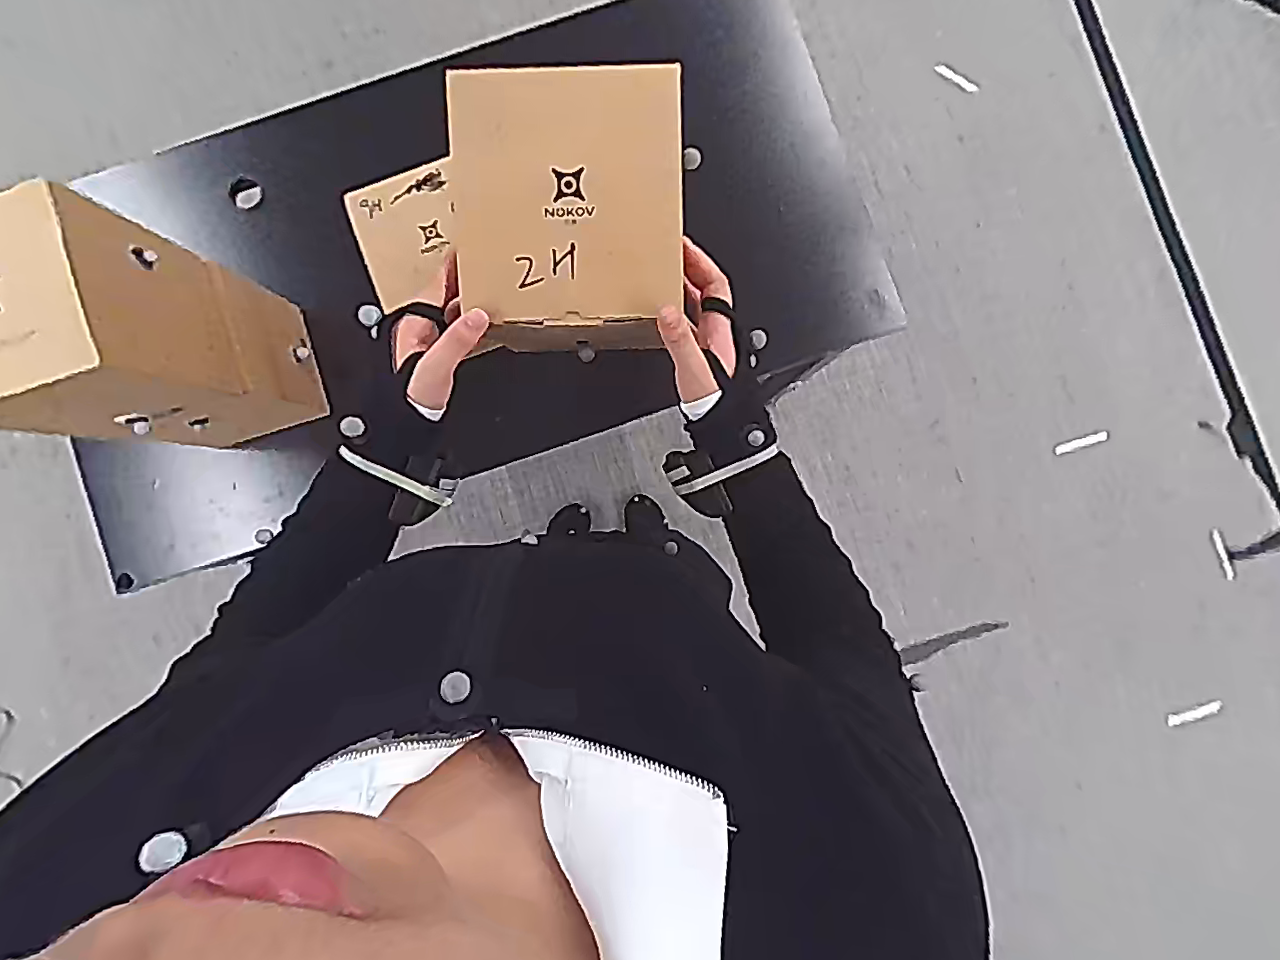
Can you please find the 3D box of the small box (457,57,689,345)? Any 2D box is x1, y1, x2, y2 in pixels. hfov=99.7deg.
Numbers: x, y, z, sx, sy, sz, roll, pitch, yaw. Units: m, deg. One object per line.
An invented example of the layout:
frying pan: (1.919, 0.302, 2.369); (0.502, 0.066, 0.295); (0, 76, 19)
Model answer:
small box: (-0.048, -0.218, 0.467); (0.168, 0.176, 0.179); (-1, 97, 1)

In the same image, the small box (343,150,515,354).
small box: (-0.242, -0.280, 0.710); (0.168, 0.176, 0.179); (-20, 88, 0)

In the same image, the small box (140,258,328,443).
small box: (-0.554, -0.154, 0.705); (0.179, 0.176, 0.168); (-18, 88, -1)

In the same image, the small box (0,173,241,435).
small box: (-0.556, -0.157, 0.542); (0.168, 0.176, 0.179); (-19, 89, 1)
